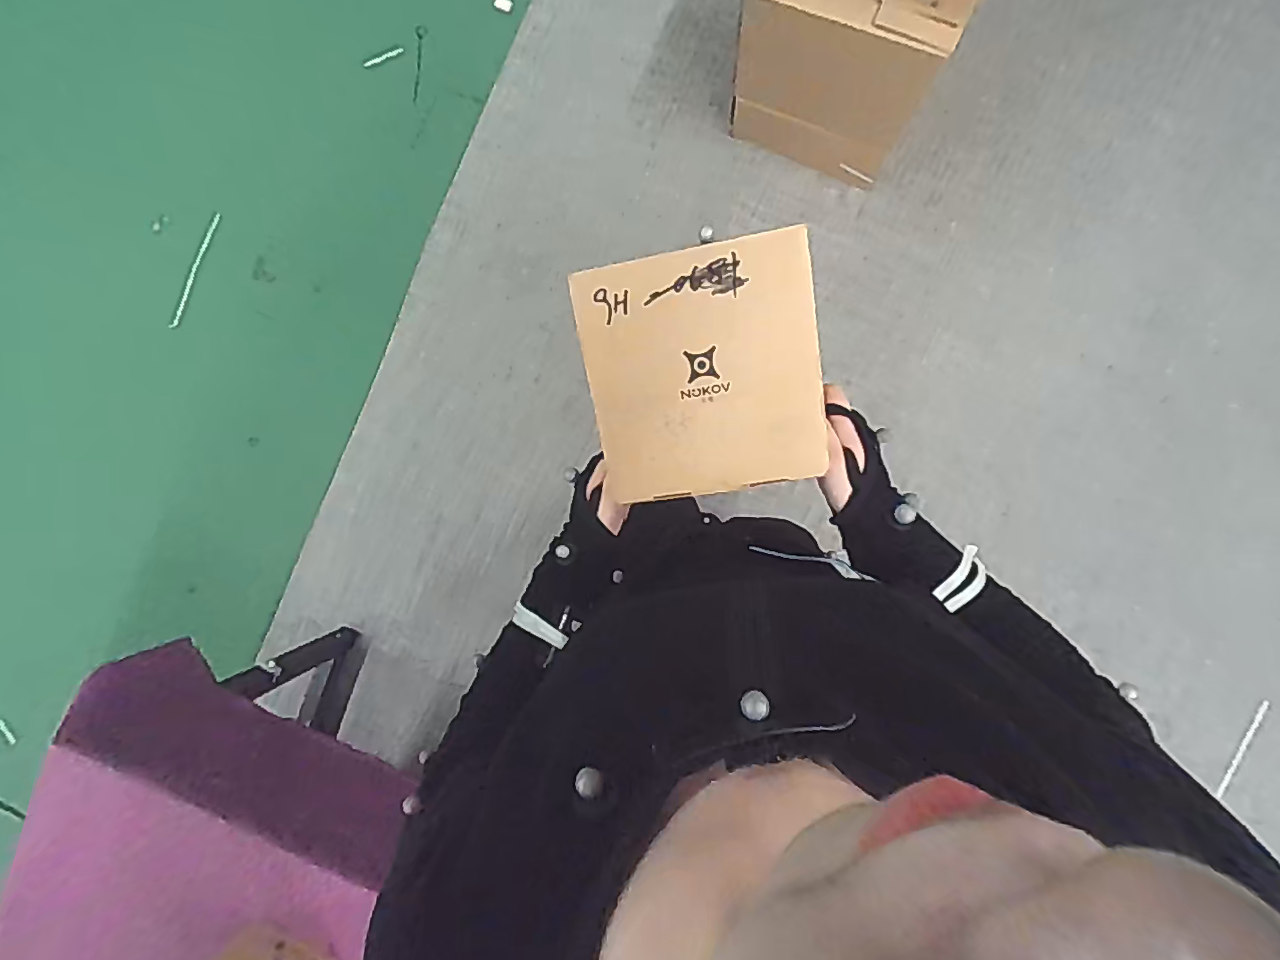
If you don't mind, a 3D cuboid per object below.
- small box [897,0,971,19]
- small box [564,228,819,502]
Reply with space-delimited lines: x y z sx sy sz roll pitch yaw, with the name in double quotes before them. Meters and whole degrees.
"small box" 0.524 -0.932 0.892 0.168 0.176 0.179 24 93 6
"small box" 0.049 -0.099 0.464 0.168 0.176 0.179 -9 106 9
